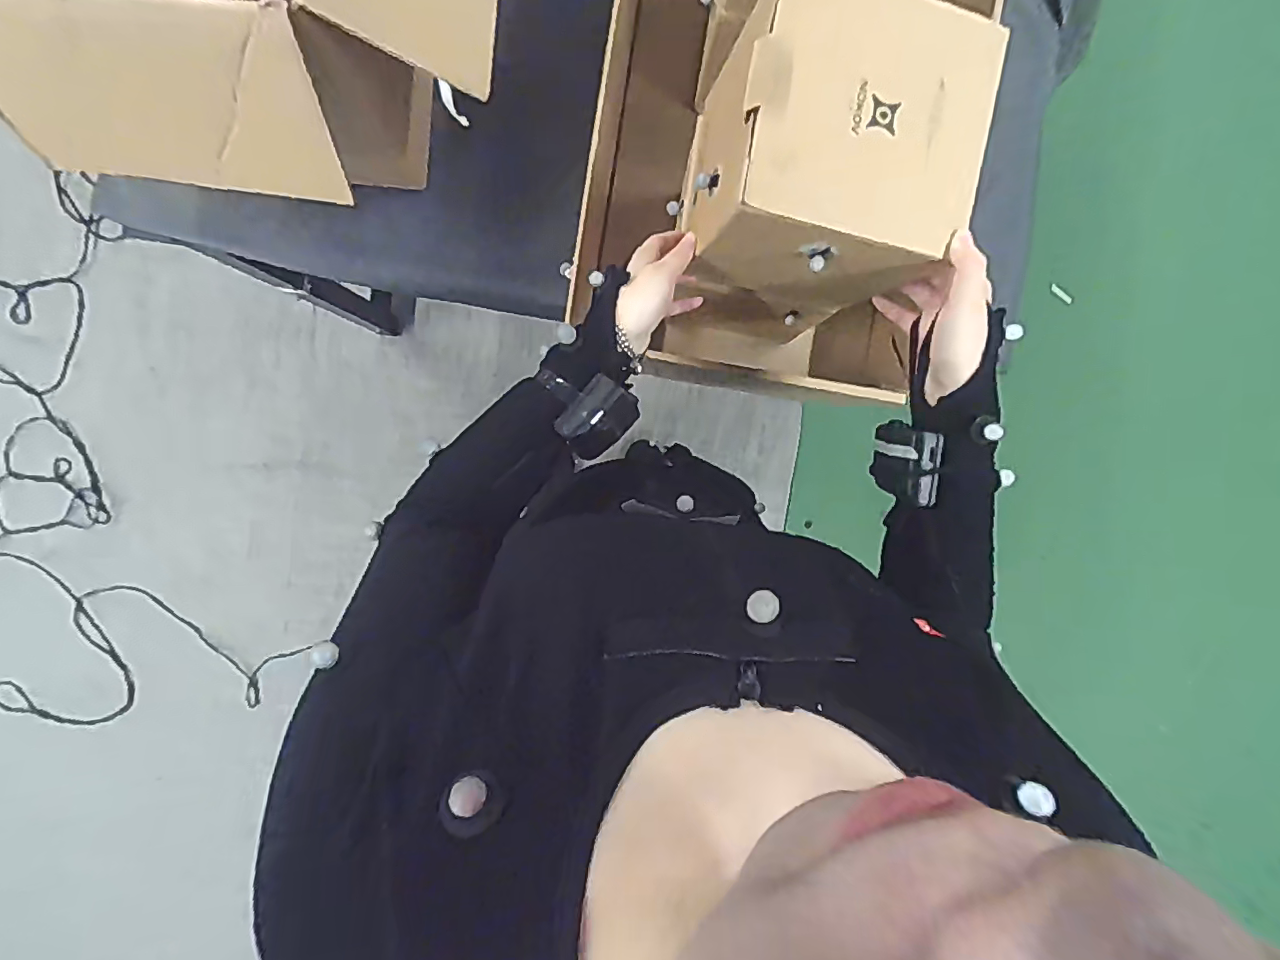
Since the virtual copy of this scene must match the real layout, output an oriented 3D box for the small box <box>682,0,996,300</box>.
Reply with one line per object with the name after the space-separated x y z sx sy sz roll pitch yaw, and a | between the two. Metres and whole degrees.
0.146 -0.263 0.459 0.179 0.176 0.168 9 96 -12 | small box
